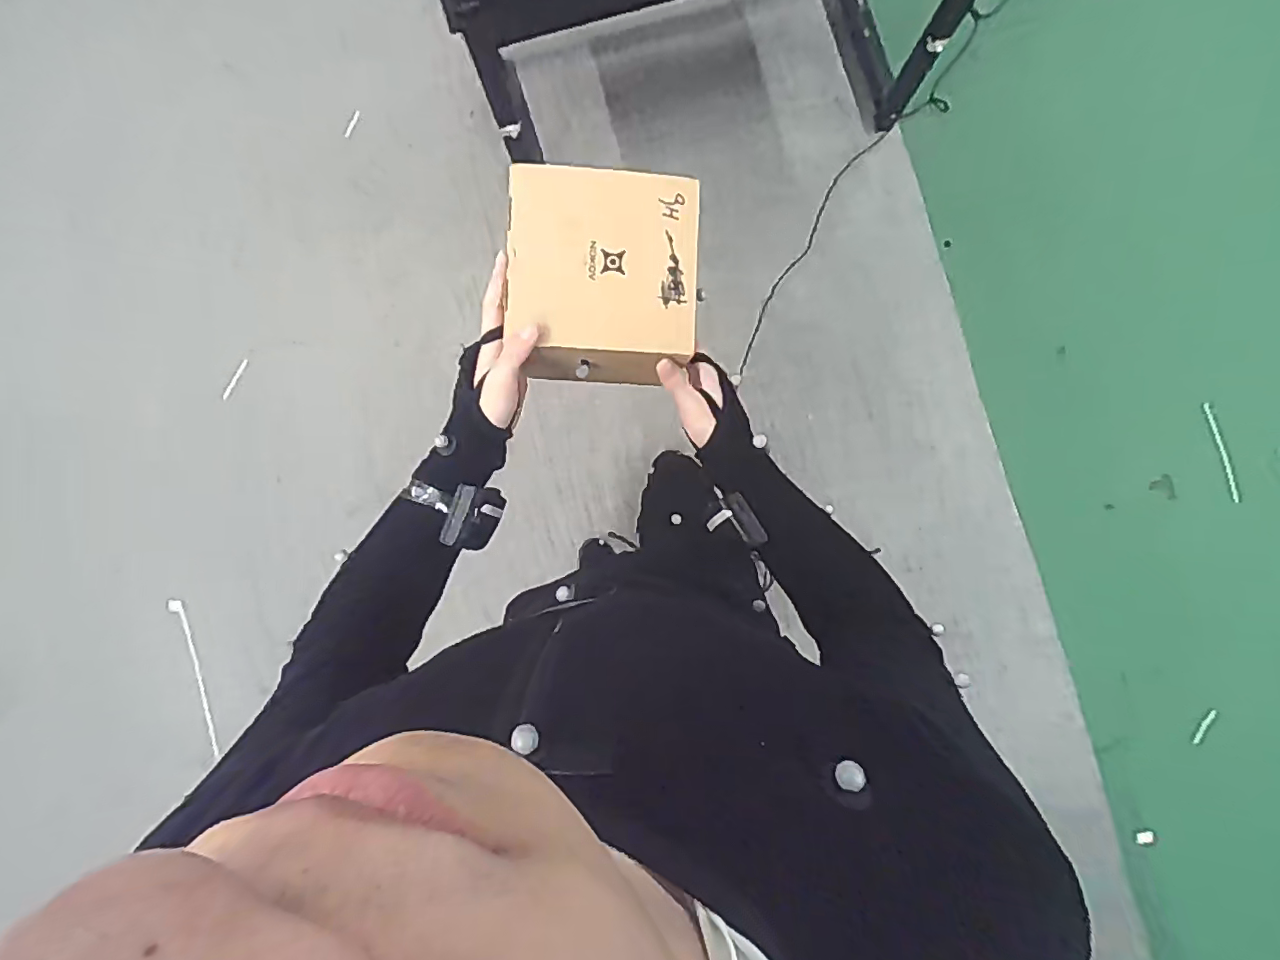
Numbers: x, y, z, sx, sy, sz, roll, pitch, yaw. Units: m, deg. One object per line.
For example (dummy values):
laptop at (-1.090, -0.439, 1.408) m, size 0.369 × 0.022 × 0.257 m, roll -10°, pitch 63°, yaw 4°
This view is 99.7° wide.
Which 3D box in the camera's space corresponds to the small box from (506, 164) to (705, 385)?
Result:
small box at (-0.035, -0.199, 0.572) m, size 0.179 × 0.176 × 0.168 m, roll 3°, pitch 89°, yaw -4°
